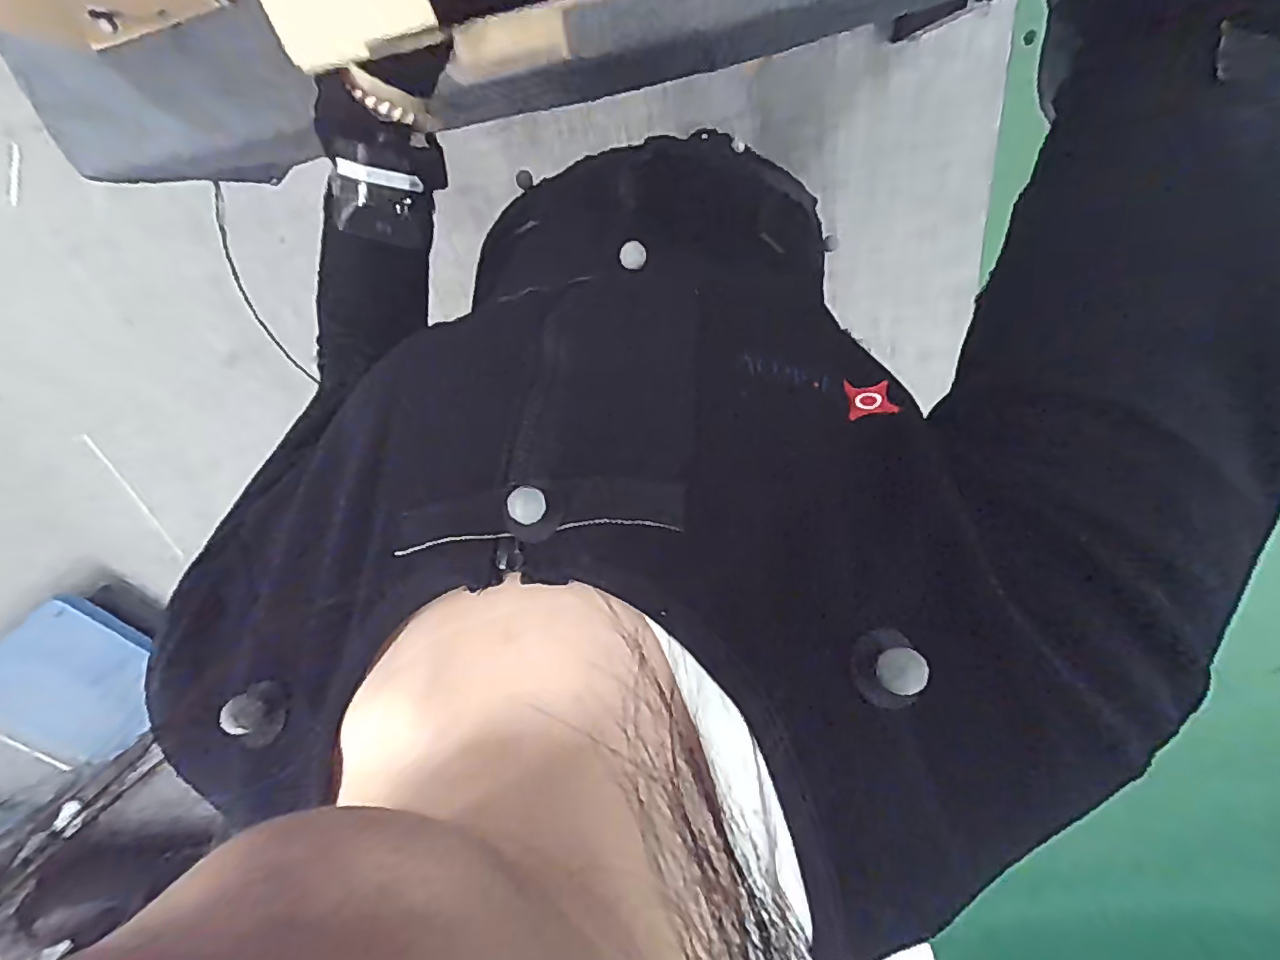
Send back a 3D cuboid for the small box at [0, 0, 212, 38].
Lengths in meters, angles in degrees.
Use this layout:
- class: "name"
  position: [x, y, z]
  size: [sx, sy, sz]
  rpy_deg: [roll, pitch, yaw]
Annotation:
- class: "small box"
  position: [-0.493, -0.484, 0.417]
  size: [0.168, 0.176, 0.179]
  rpy_deg: [-11, 120, 8]
